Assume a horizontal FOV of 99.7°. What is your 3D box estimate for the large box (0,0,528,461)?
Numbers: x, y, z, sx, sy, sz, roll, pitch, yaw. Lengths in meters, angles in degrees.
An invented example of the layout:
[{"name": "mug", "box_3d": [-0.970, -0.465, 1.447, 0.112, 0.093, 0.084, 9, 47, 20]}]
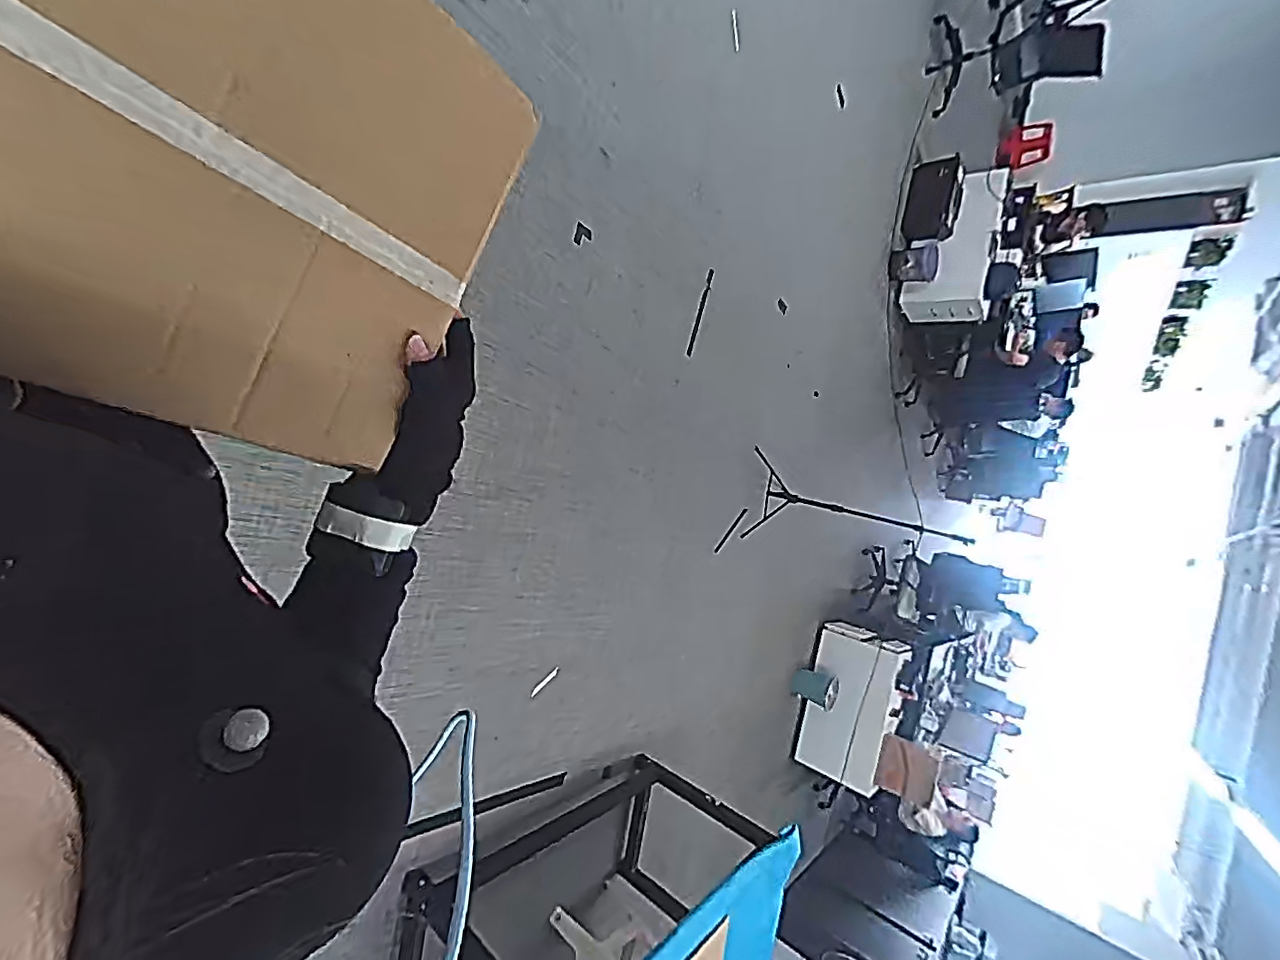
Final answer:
[{"name": "large box", "box_3d": [-0.371, -0.250, 0.380, 0.408, 0.320, 0.320, 23, 94, -49]}]
